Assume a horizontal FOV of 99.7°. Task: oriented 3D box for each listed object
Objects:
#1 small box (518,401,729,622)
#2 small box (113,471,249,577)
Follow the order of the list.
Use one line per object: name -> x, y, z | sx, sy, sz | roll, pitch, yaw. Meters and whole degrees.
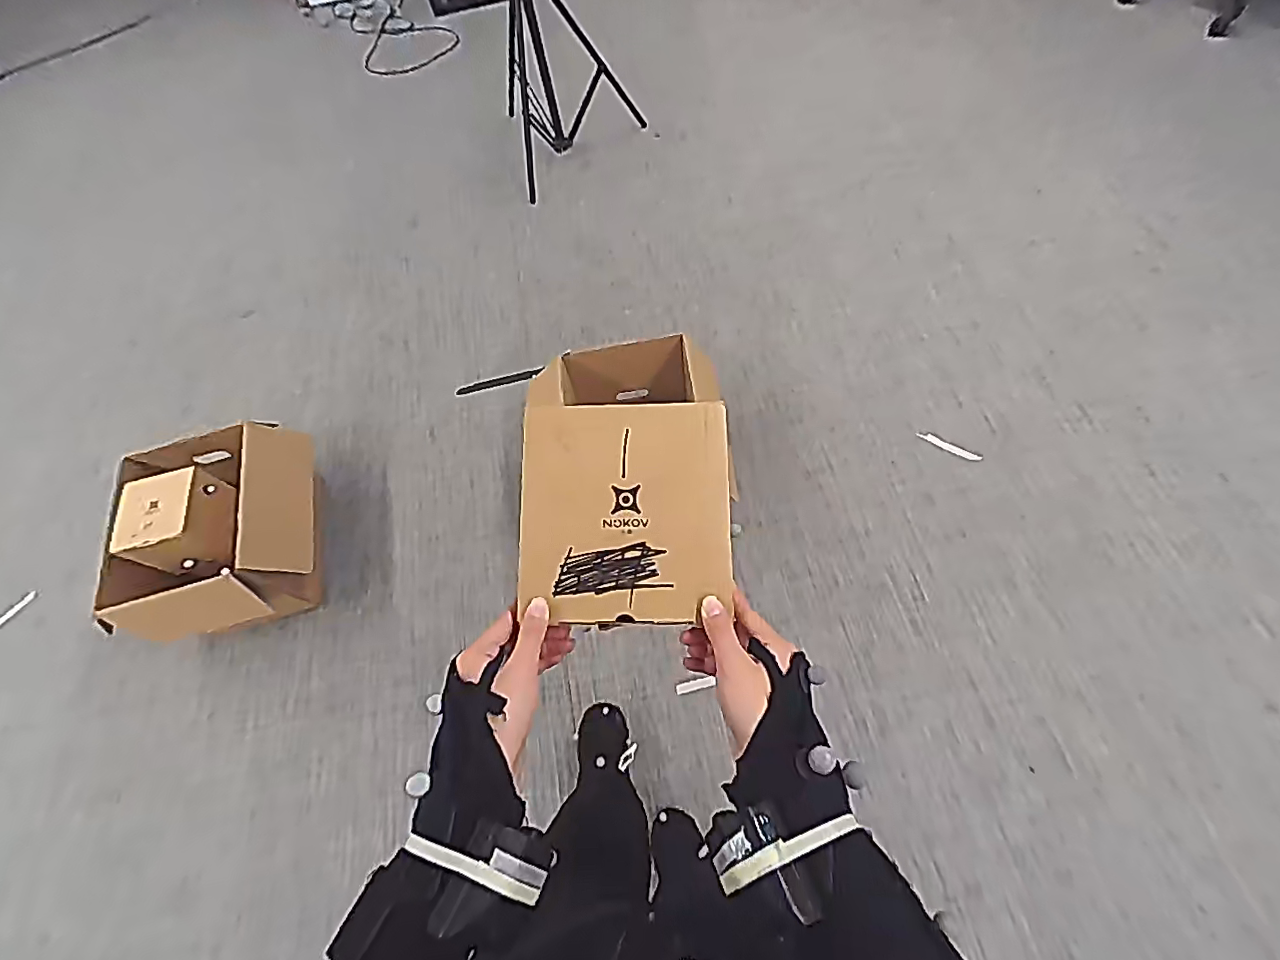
small box -> -0.008, 0.038, 0.503 | 0.168, 0.176, 0.179 | -1, 77, 3
small box -> -1.063, 0.107, 1.270 | 0.168, 0.176, 0.179 | -15, 63, 0
